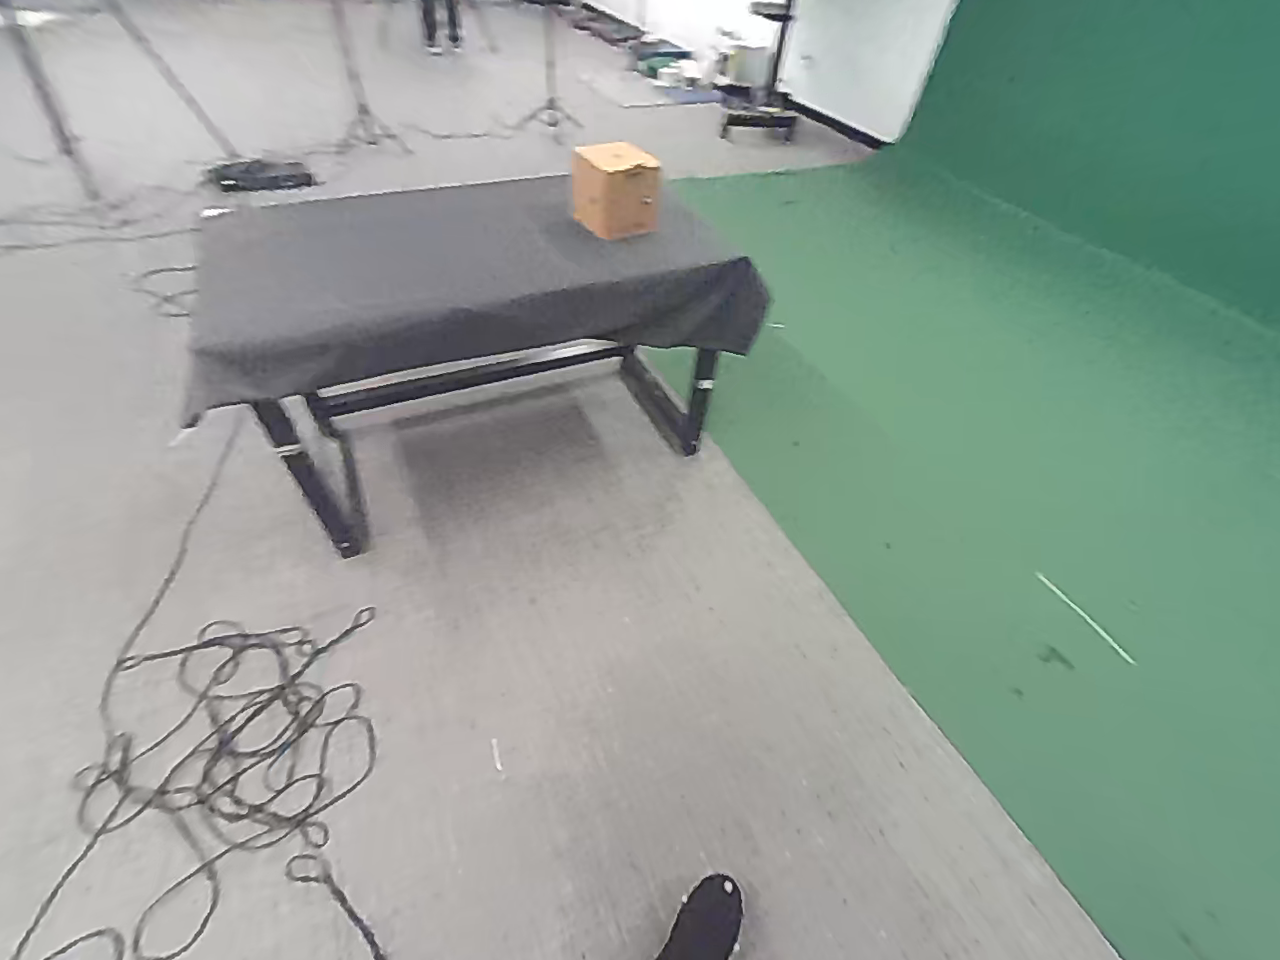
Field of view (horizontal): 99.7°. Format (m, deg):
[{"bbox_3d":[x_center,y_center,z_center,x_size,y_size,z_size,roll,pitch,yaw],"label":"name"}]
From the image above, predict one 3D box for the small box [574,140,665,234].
[{"bbox_3d":[-0.055,-0.747,1.388,0.168,0.176,0.179,-23,53,-25],"label":"small box"}]
